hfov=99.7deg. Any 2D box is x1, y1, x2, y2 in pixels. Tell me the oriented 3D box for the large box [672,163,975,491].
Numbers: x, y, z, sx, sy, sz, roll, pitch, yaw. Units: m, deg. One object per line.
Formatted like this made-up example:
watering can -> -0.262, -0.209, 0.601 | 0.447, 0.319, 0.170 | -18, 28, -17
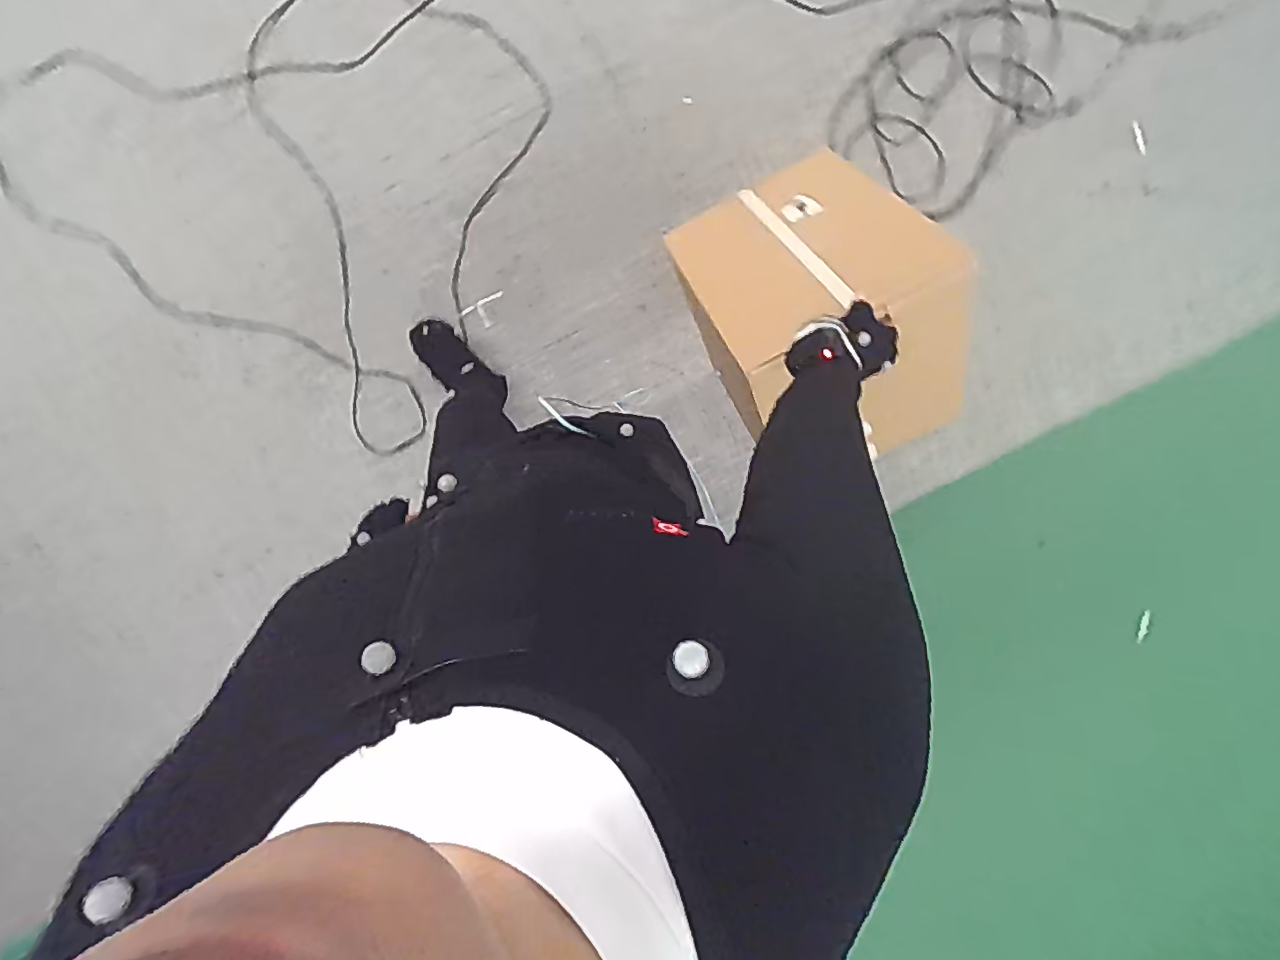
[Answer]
large box -> 0.296, -0.261, 0.933 | 0.320, 0.408, 0.320 | -24, 138, 8
